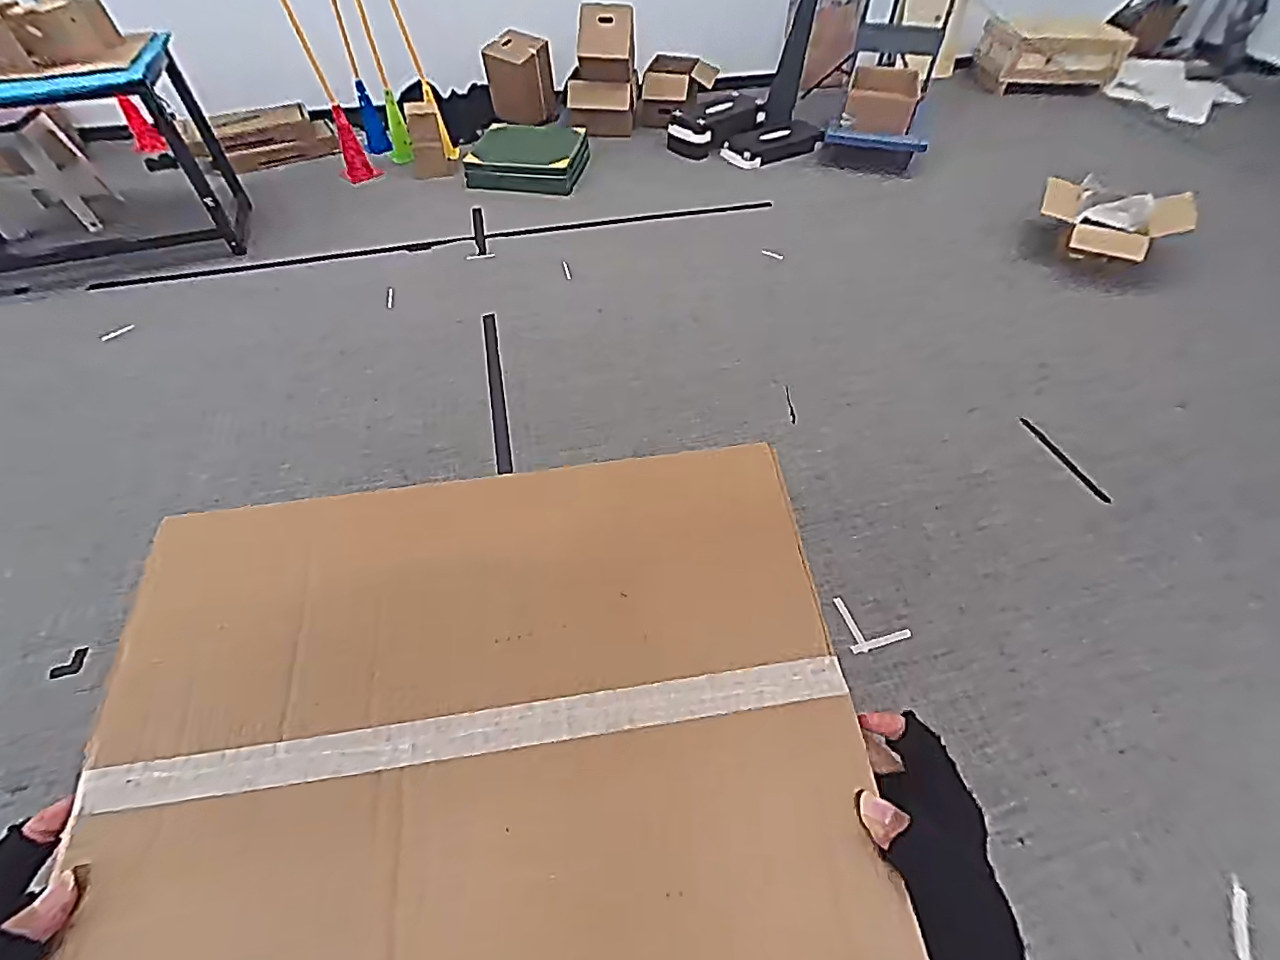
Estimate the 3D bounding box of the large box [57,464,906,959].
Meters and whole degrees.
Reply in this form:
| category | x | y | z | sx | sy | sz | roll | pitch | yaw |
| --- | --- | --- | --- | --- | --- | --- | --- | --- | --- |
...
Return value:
| category | x | y | z | sx | sy | sz | roll | pitch | yaw |
| --- | --- | --- | --- | --- | --- | --- | --- | --- | --- |
| large box | -0.085 | 0.216 | 0.431 | 0.408 | 0.320 | 0.320 | -7 | 61 | -3 |
